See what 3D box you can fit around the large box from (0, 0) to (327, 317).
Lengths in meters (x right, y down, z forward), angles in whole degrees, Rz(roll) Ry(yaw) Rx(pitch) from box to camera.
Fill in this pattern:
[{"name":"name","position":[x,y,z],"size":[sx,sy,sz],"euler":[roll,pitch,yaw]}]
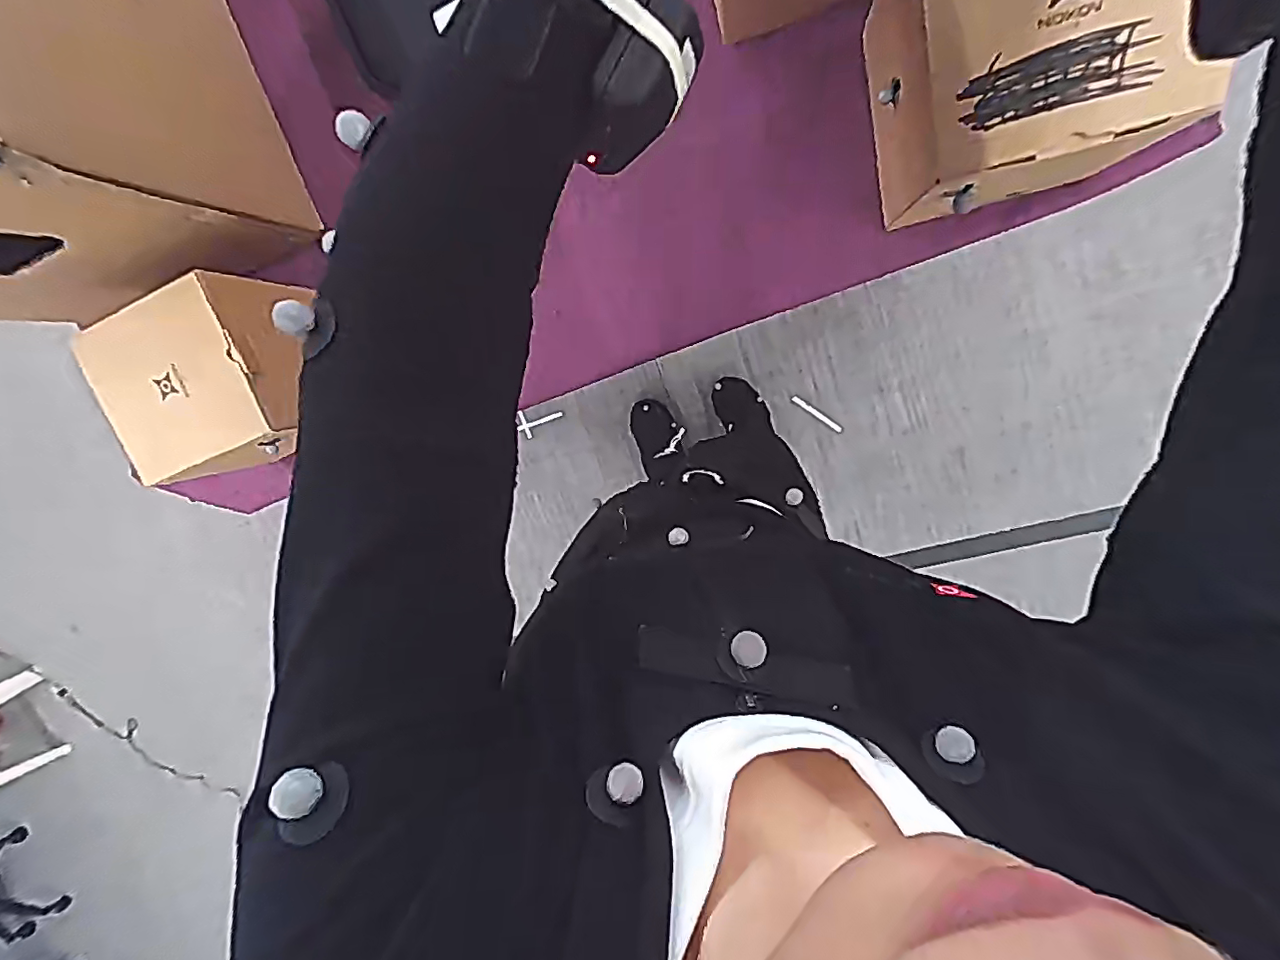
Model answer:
[{"name":"large box","position":[-0.604,-0.403,0.509],"size":[0.320,0.320,0.408],"euler":[-18,103,14]}]
